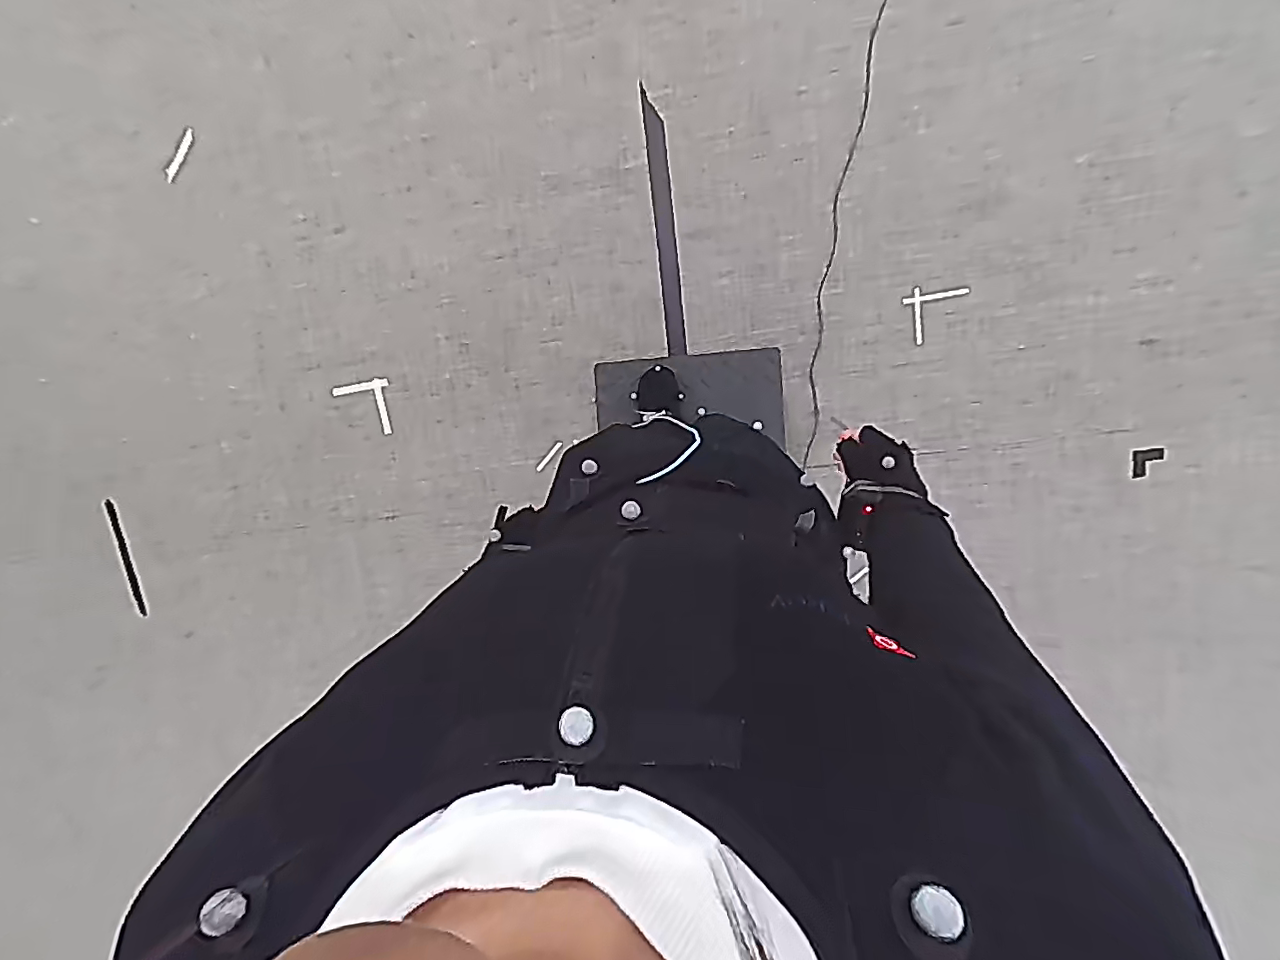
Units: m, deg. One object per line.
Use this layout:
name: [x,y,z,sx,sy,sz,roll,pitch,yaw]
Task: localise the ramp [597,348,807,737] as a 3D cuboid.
ramp: [0.152,0.170,1.423,0.509,0.206,0.991,-5,99,9]
